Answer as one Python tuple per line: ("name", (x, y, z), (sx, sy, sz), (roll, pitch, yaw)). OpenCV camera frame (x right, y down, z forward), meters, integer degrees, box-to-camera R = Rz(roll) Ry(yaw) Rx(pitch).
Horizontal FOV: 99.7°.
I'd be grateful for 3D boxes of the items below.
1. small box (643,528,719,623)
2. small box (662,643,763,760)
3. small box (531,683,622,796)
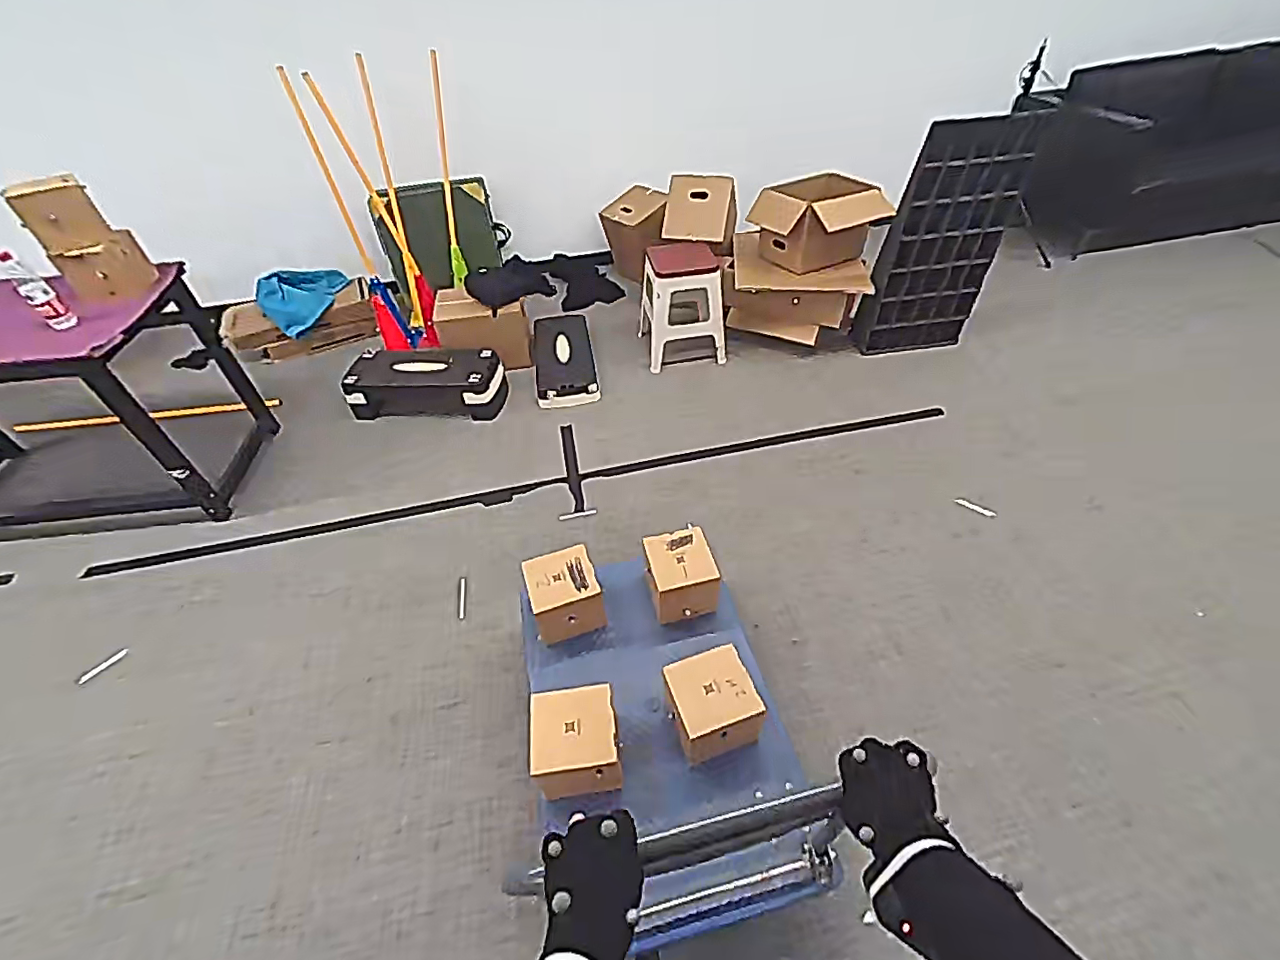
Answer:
("small box", (0.107, 0.262, 1.479), (0.168, 0.176, 0.179), (-12, 47, -8))
("small box", (0.160, 0.509, 1.232), (0.179, 0.176, 0.168), (-16, 47, -11))
("small box", (-0.137, 0.573, 1.189), (0.179, 0.176, 0.168), (-7, 45, -5))
